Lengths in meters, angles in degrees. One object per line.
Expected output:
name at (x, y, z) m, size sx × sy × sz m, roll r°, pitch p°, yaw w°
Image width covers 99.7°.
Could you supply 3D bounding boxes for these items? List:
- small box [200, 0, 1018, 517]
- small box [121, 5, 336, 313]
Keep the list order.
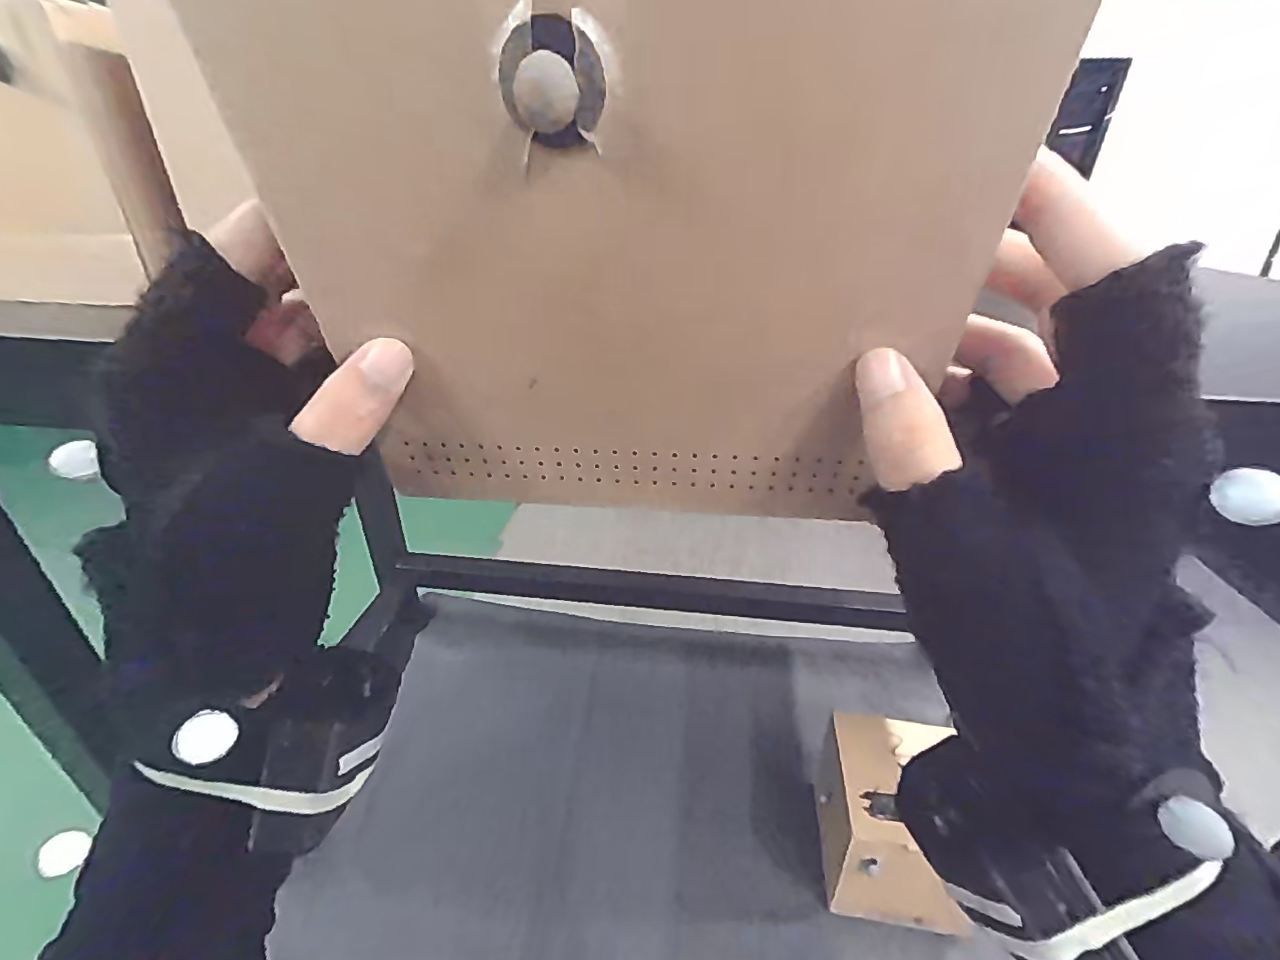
small box at (-0.001, -0.102, 0.200) m, size 0.179 × 0.176 × 0.168 m, roll 3°, pitch 44°, yaw 5°
small box at (-0.200, -0.222, 0.402) m, size 0.168 × 0.176 × 0.179 m, roll 4°, pitch 28°, yaw 4°
